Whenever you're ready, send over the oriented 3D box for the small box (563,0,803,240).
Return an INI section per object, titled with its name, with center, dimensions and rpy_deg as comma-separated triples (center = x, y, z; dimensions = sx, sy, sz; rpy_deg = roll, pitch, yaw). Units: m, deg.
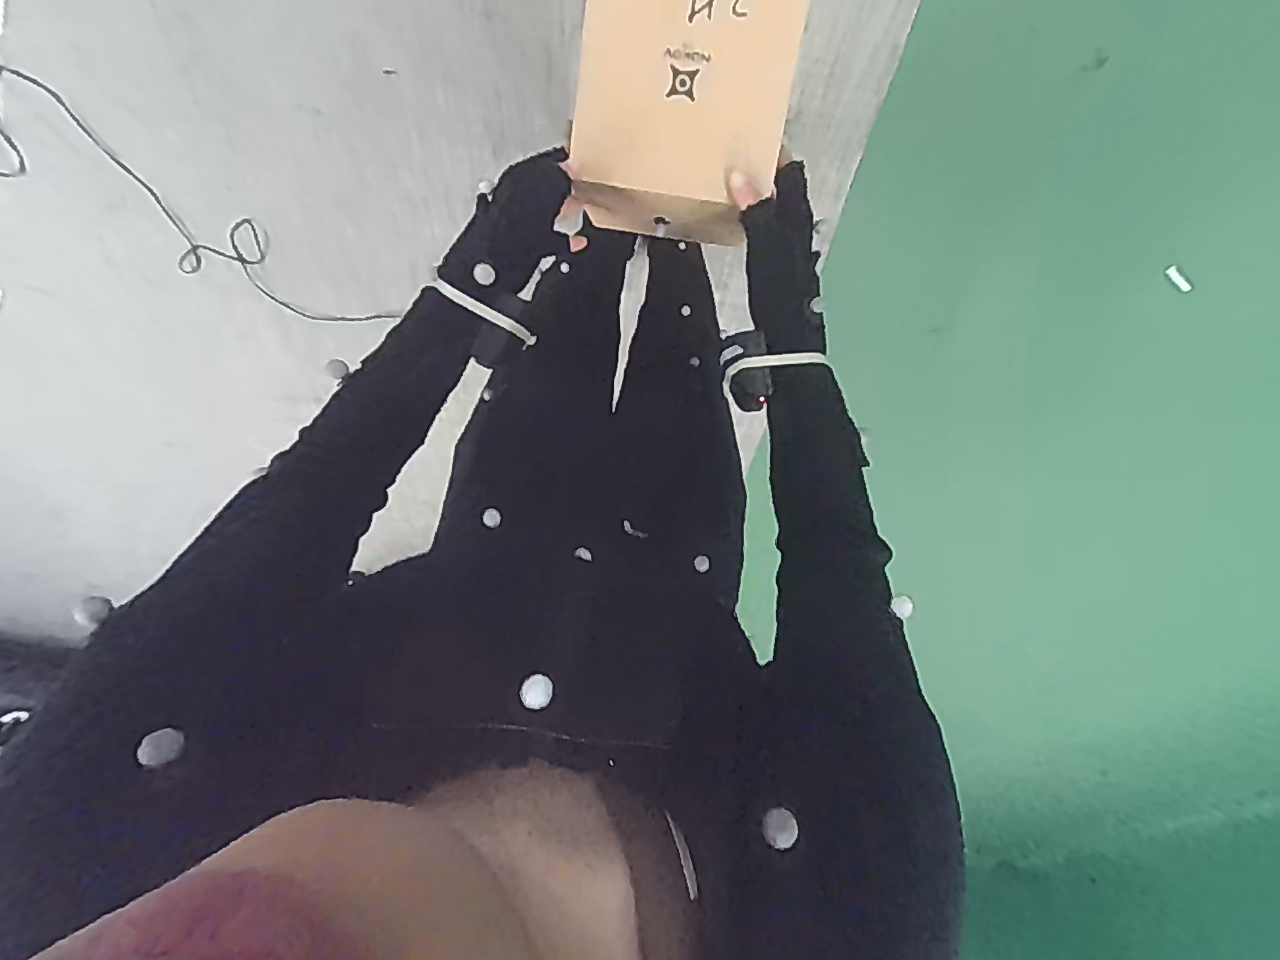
[small box]
center = 0.035, -0.333, 0.491
dimensions = 0.168, 0.176, 0.179
rpy_deg = 9, 102, 0
